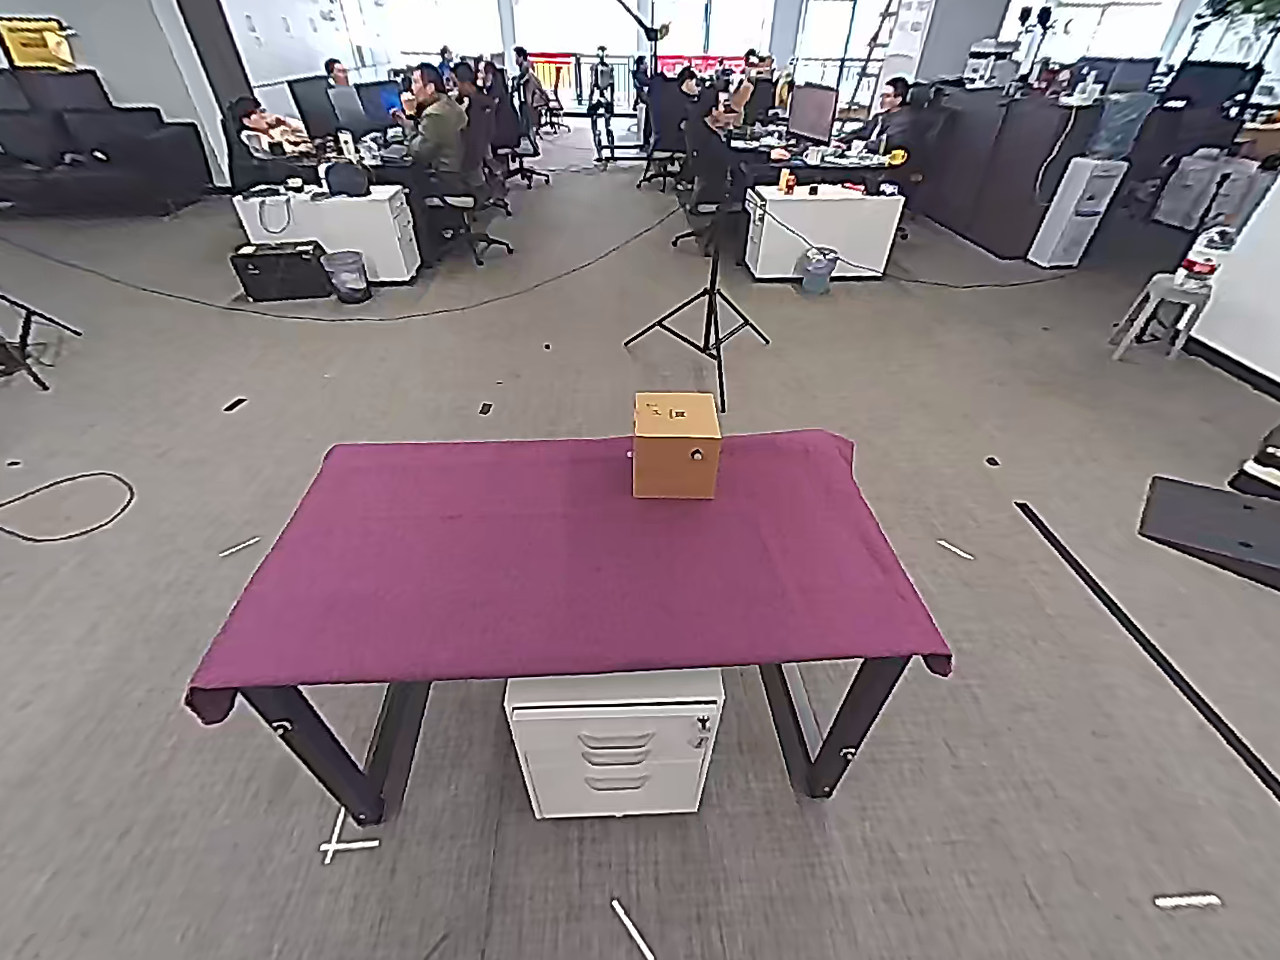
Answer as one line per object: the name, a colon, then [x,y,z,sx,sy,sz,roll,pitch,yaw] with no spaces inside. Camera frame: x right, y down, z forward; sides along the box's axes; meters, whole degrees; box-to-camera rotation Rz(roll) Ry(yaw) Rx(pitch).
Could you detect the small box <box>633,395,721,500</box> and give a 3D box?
small box: [0.074,-0.069,1.184,0.179,0.176,0.168,0,40,0]
